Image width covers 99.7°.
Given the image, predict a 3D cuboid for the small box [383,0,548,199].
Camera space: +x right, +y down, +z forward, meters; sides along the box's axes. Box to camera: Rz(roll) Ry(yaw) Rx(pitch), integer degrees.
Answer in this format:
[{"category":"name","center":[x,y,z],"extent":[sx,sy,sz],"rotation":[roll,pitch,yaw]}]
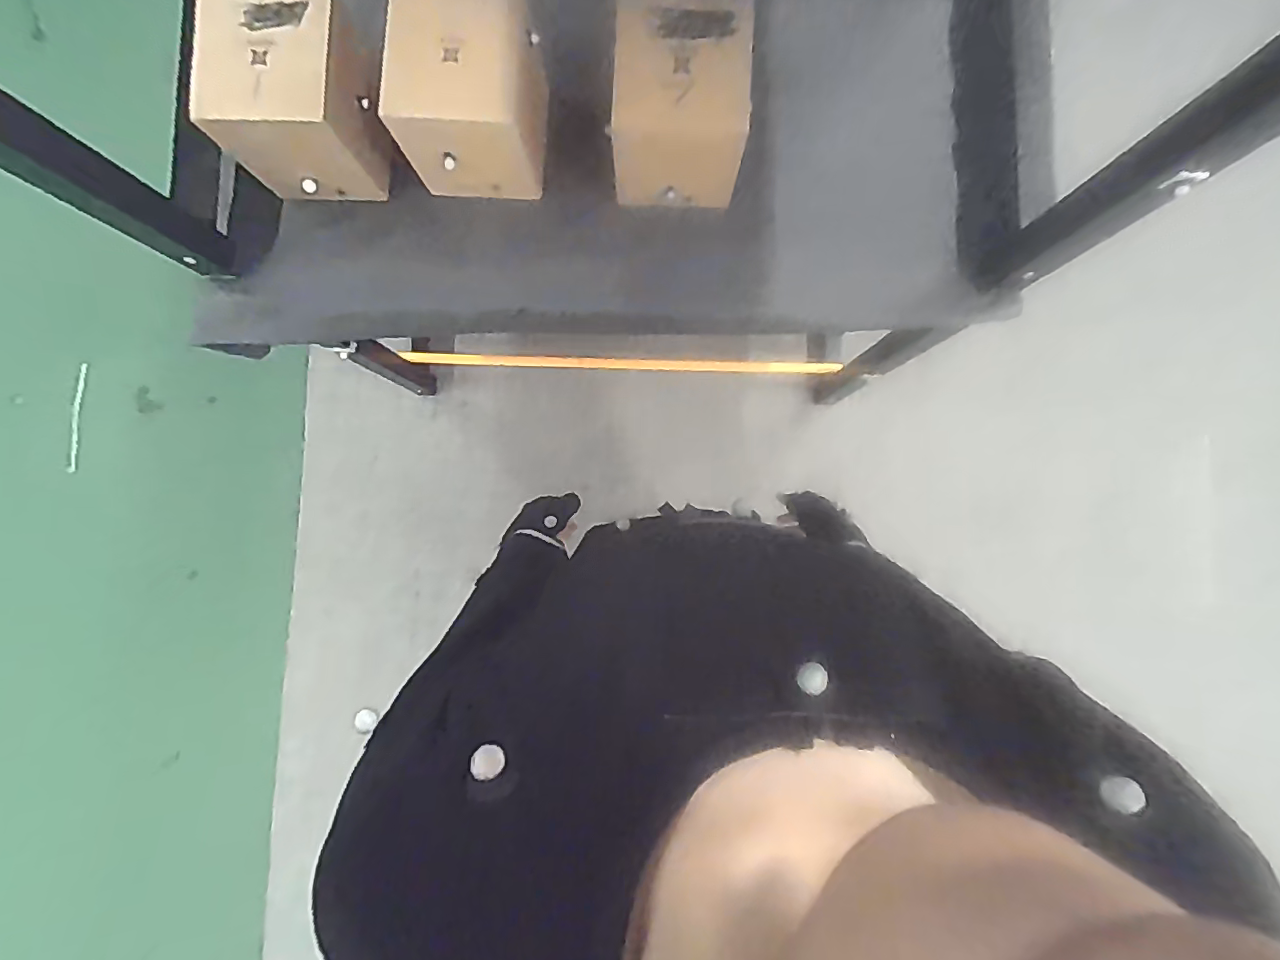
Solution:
[{"category":"small box","center":[-0.225,-0.511,0.738],"extent":[0.168,0.176,0.179],"rotation":[3,86,1]}]

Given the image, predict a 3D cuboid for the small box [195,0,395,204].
[{"category":"small box","center":[-0.452,-0.511,0.738],"extent":[0.168,0.176,0.179],"rotation":[2,86,1]}]
